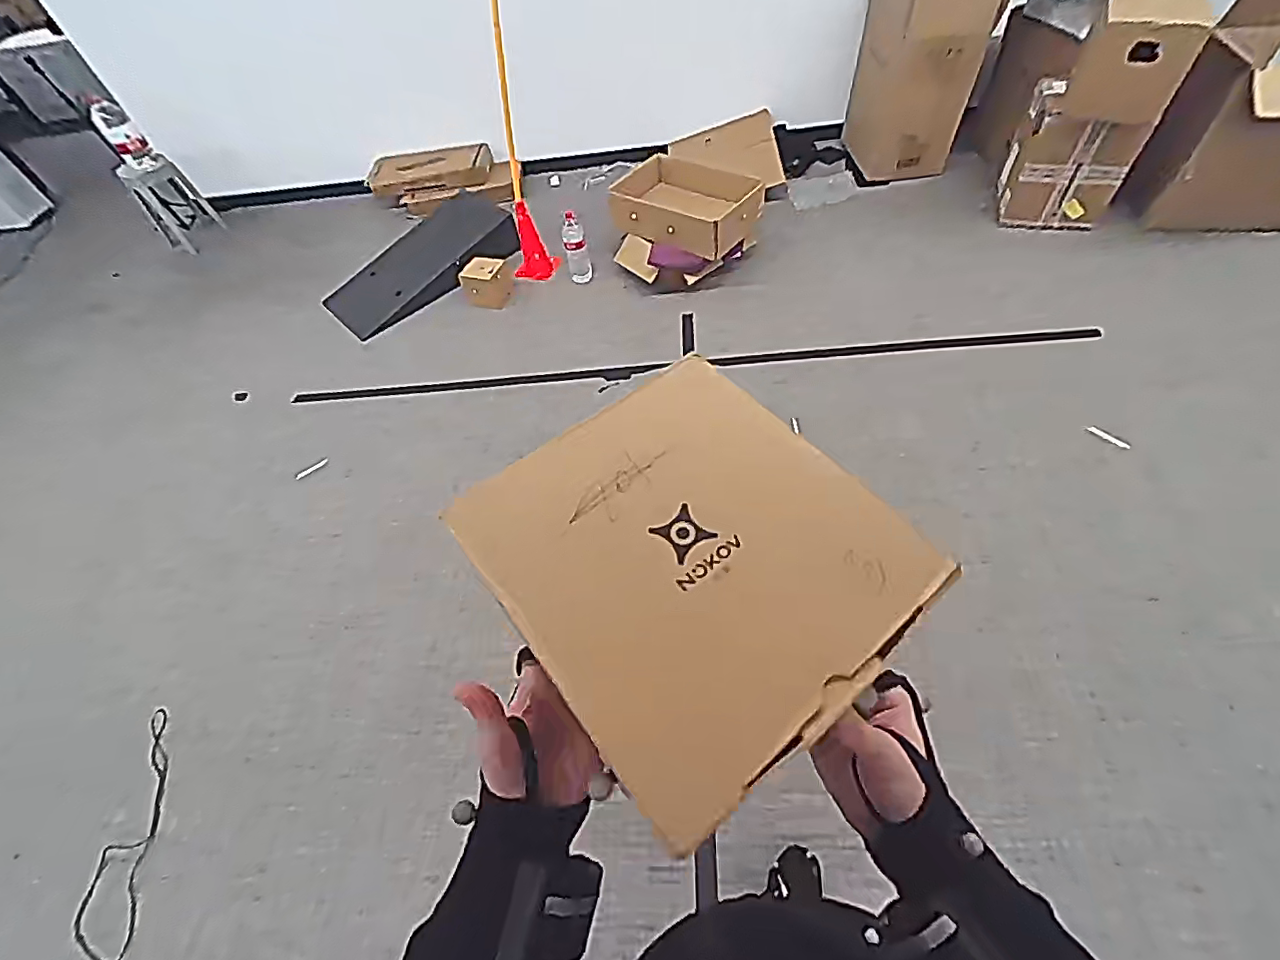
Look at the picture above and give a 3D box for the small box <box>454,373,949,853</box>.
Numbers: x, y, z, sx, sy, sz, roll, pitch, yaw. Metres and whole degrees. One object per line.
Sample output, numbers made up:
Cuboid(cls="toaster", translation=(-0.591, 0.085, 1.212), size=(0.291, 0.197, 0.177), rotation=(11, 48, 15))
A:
Cuboid(cls="small box", translation=(0.027, 0.078, 0.320), size=(0.168, 0.176, 0.179), rotation=(-36, 61, -21))
